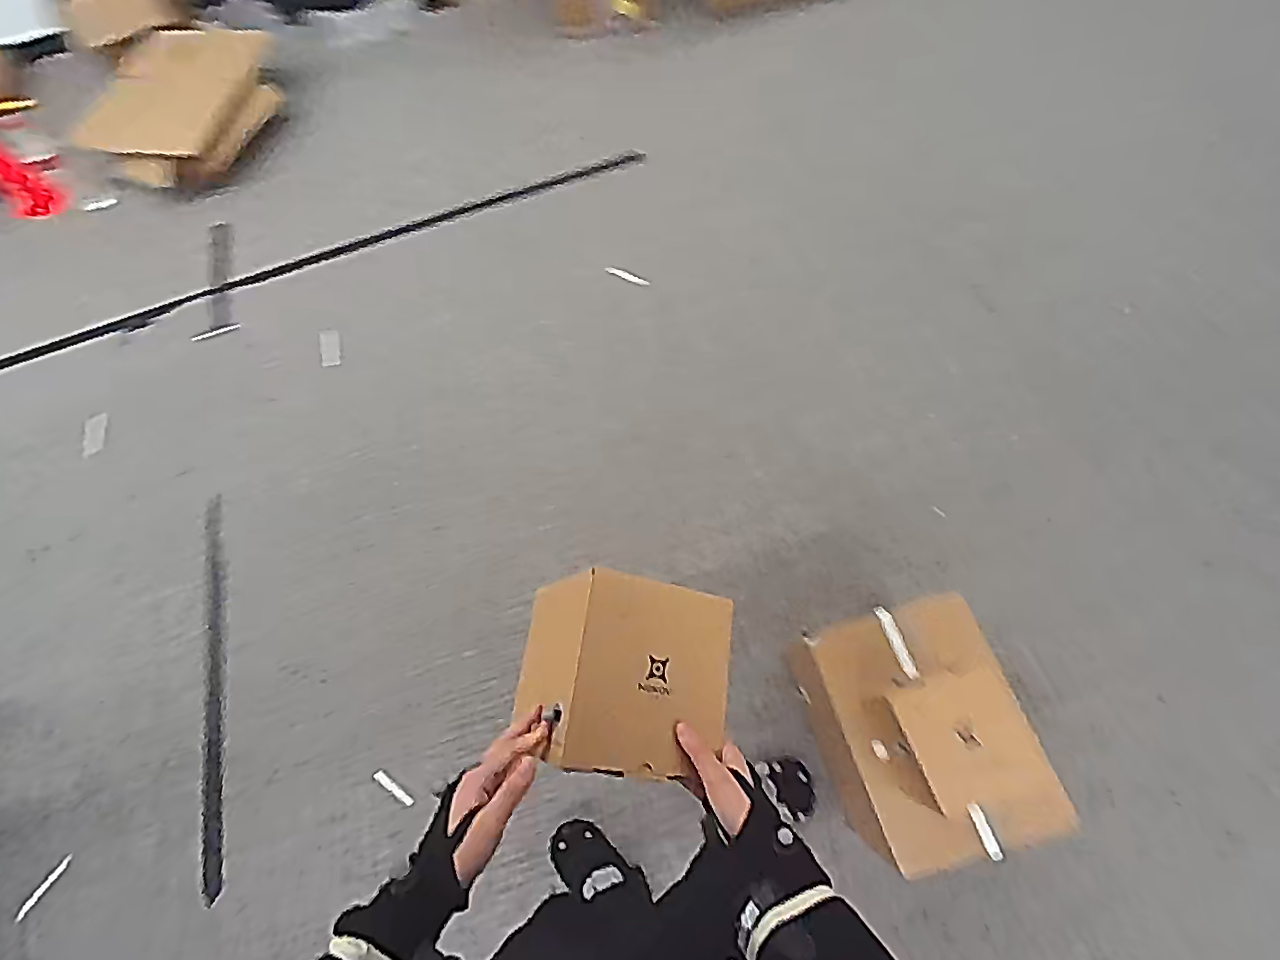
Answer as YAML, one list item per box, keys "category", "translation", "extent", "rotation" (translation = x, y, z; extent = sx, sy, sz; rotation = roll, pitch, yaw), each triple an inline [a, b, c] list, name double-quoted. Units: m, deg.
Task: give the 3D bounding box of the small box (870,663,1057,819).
- category: "small box"
  translation: [0.500, 0.411, 0.873]
  extent: [0.168, 0.176, 0.179]
  rotation: [-20, 68, 0]
